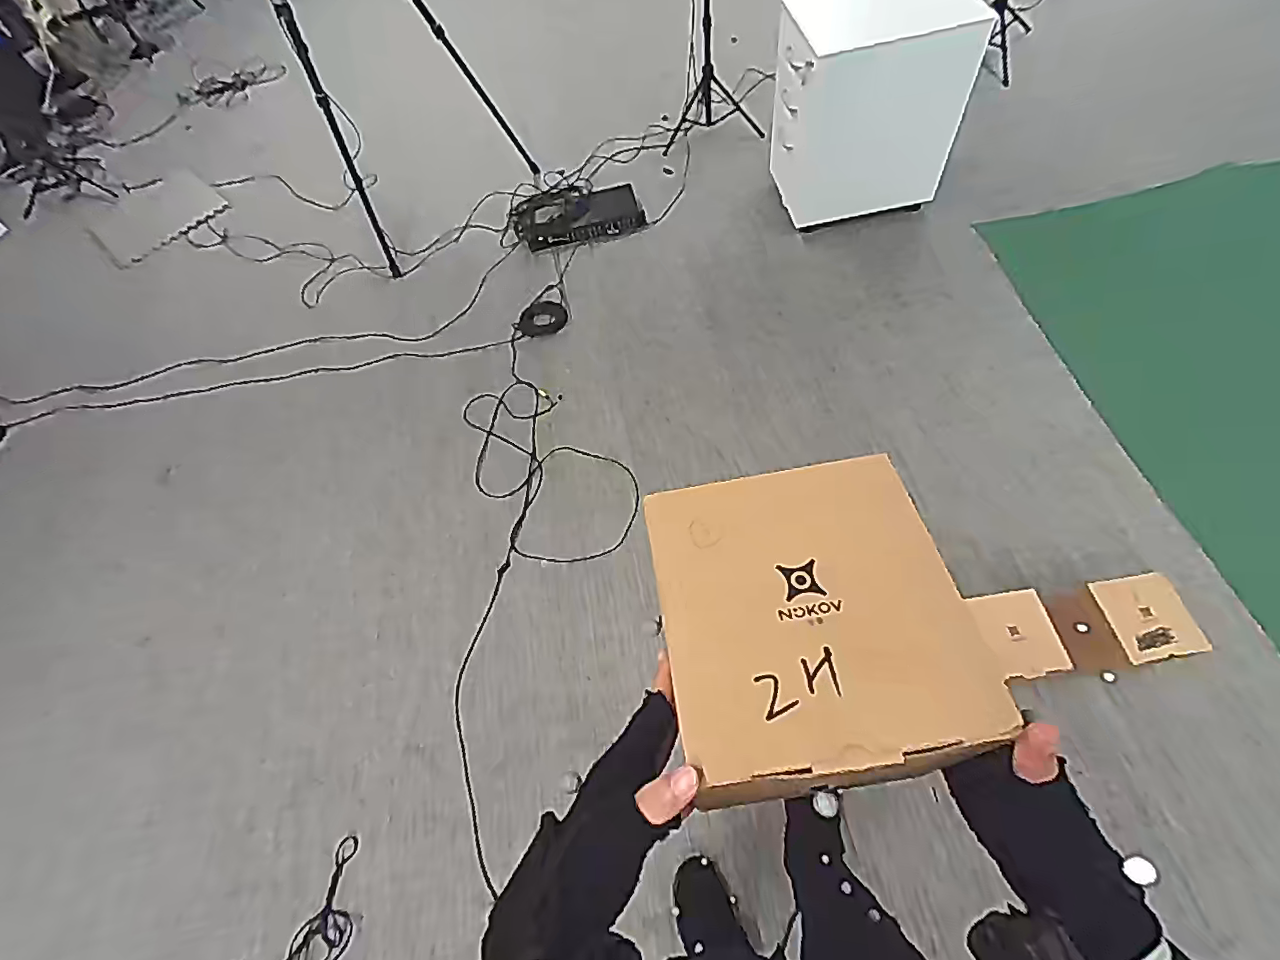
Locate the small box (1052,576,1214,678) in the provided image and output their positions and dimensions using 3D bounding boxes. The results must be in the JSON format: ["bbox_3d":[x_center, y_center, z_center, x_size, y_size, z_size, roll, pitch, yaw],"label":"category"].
[{"bbox_3d":[1.079,0.335,1.204,0.168,0.176,0.179,-11,59,2],"label":"small box"}]

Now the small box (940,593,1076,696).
[{"bbox_3d":[0.814,0.374,1.221,0.168,0.176,0.179,-10,60,2],"label":"small box"}]
